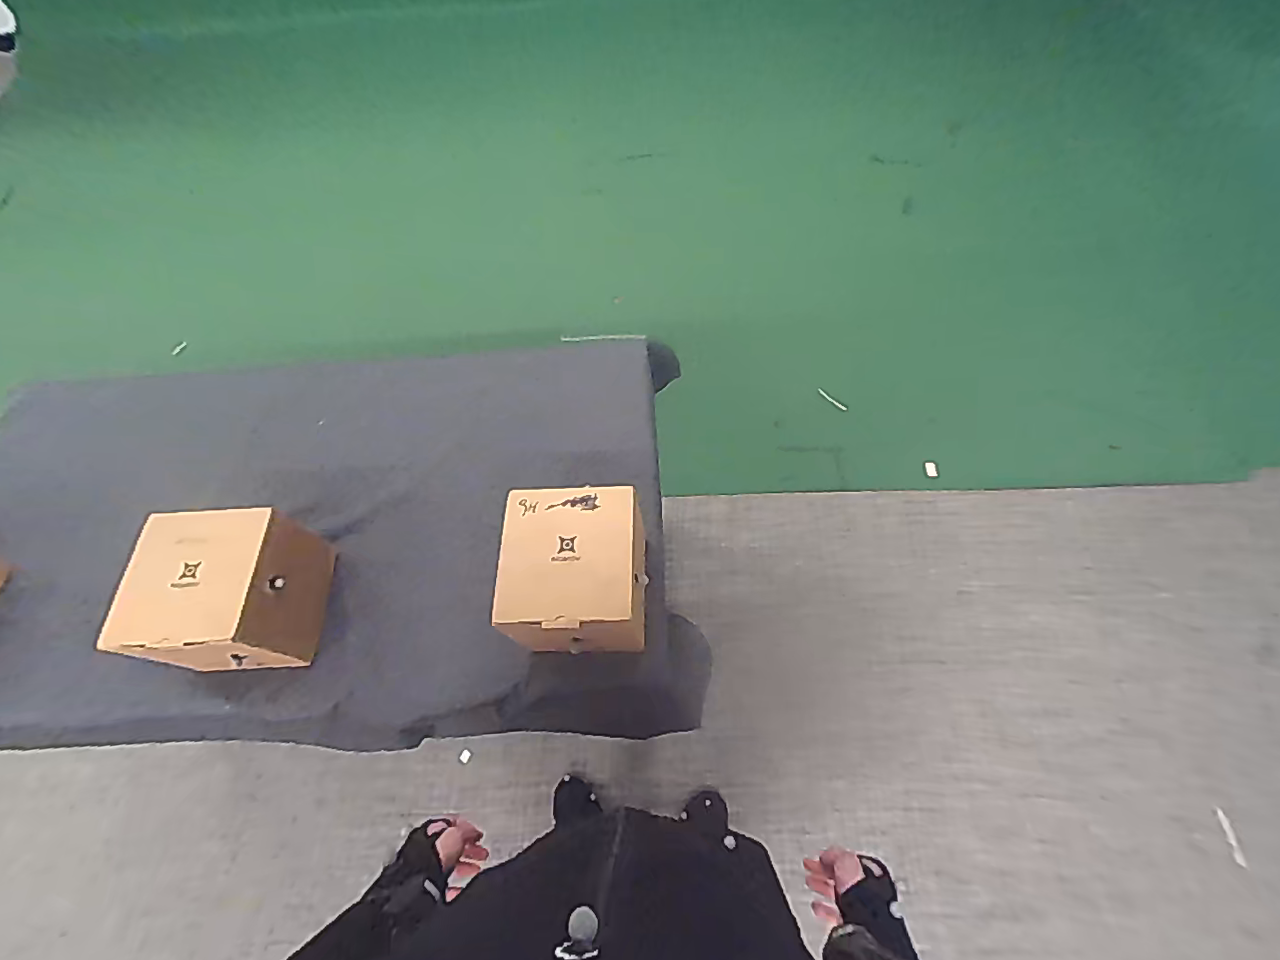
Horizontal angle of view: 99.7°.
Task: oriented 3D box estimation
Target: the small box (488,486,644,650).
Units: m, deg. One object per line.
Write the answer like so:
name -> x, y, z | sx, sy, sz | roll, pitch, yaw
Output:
small box -> -0.083, 0.124, 0.712 | 0.168, 0.176, 0.179 | -2, 62, 5

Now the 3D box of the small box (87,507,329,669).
small box -> -0.555, 0.152, 0.729 | 0.168, 0.176, 0.179 | -3, 60, 0
